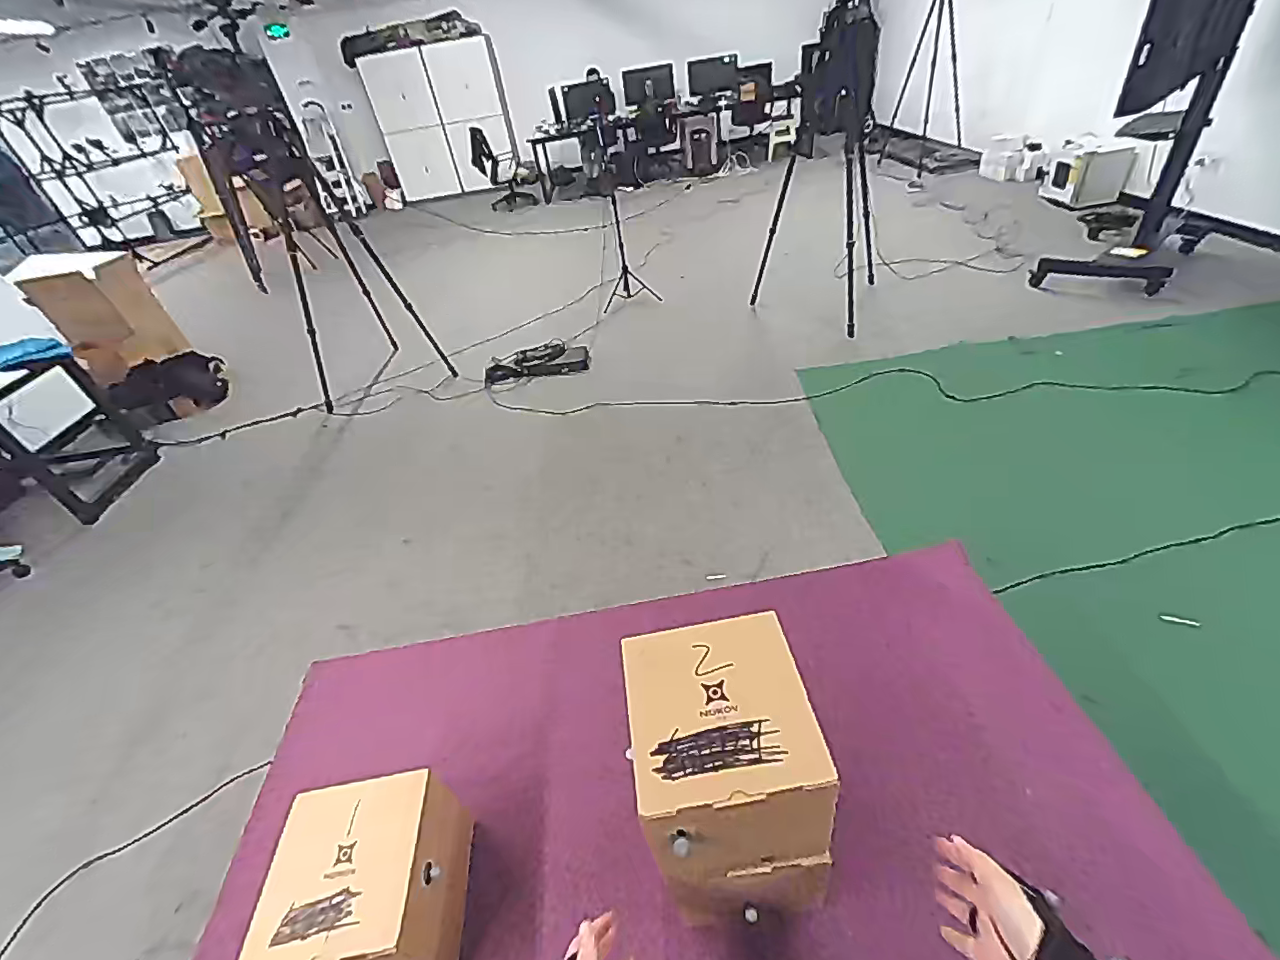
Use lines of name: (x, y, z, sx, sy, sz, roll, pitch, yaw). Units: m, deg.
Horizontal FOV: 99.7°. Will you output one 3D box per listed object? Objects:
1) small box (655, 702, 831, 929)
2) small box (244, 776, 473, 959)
small box: (0.114, 0.398, 0.646, 0.168, 0.176, 0.179, -10, 39, 3)
small box: (-0.311, 0.488, 0.639, 0.168, 0.176, 0.179, -11, 37, 0)
